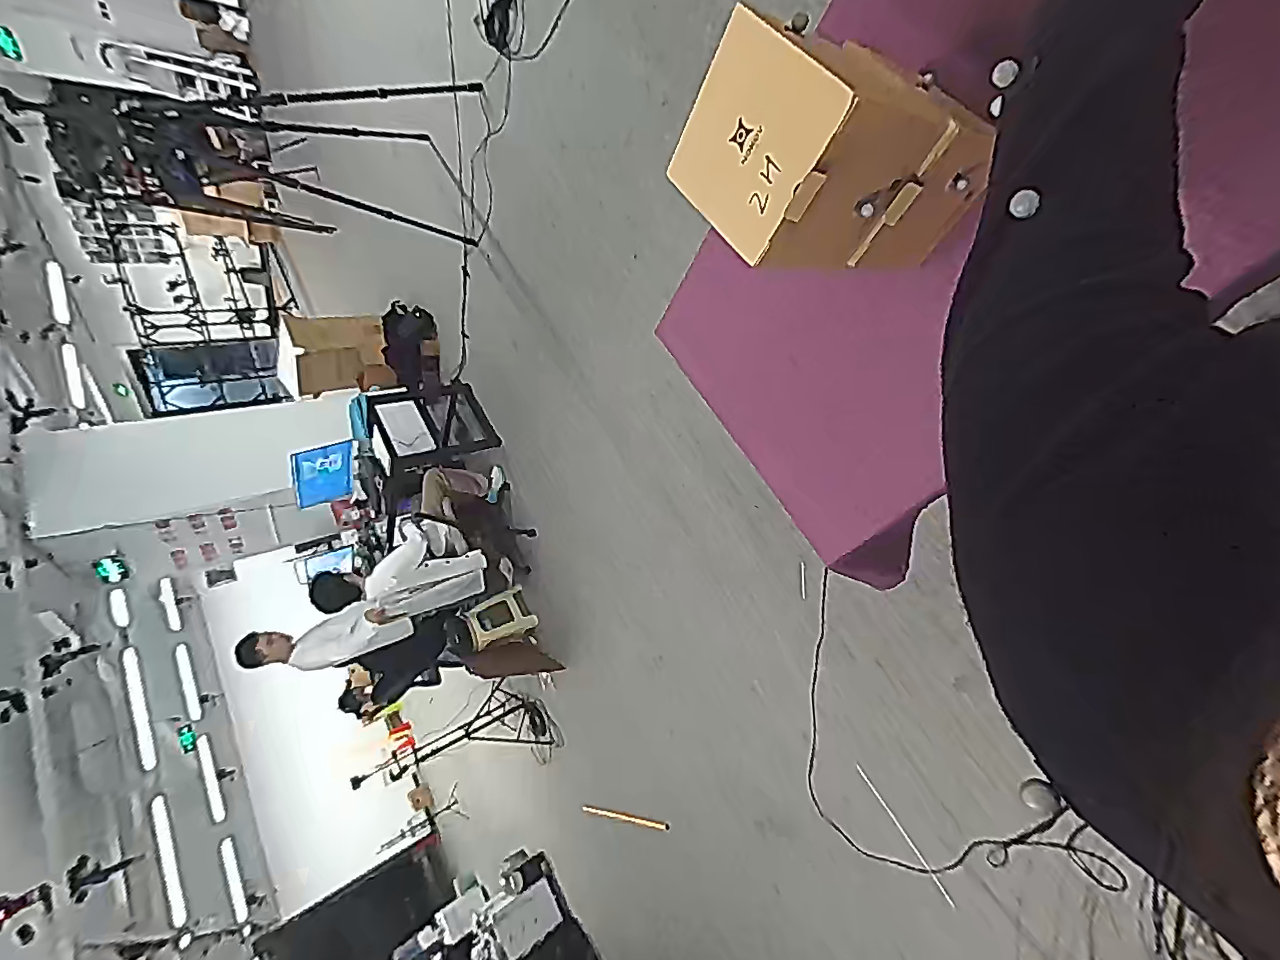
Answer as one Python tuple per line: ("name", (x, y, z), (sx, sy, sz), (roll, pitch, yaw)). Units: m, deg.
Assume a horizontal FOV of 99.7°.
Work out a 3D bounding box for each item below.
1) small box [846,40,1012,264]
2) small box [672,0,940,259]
("small box", (0.309, -0.392, 0.670), (0.179, 0.176, 0.168), (58, 141, 21))
("small box", (0.172, -0.357, 0.583), (0.179, 0.176, 0.168), (57, 141, 21))
